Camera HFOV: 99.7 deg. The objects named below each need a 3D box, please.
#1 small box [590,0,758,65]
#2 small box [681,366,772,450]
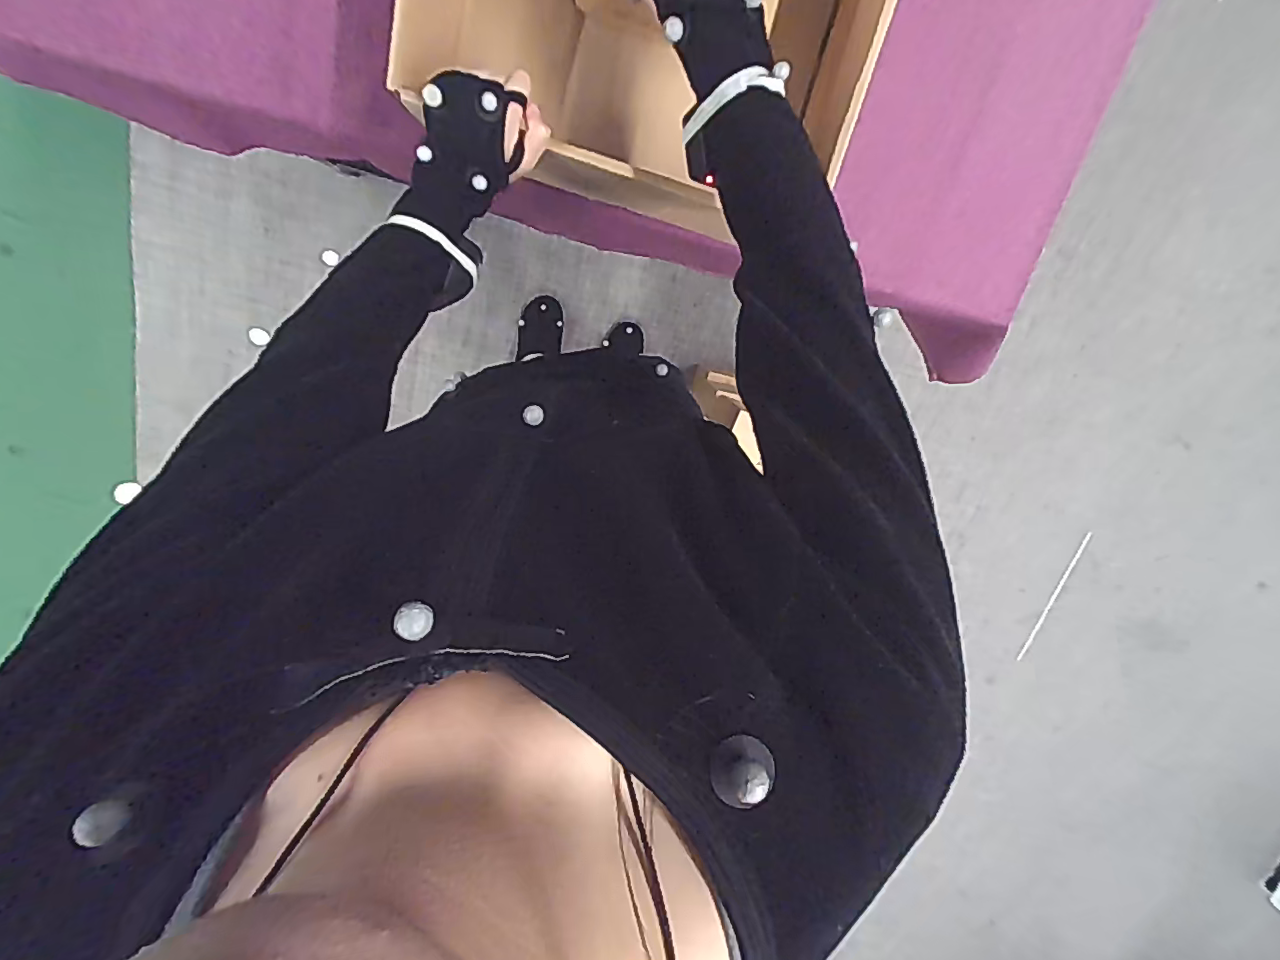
[{"bbox_3d":[0.045,-0.514,0.472,0.168,0.176,0.179,15,104,-8],"label":"small box"},{"bbox_3d":[0.218,-0.193,1.417,0.179,0.176,0.168,12,107,-8],"label":"small box"}]
